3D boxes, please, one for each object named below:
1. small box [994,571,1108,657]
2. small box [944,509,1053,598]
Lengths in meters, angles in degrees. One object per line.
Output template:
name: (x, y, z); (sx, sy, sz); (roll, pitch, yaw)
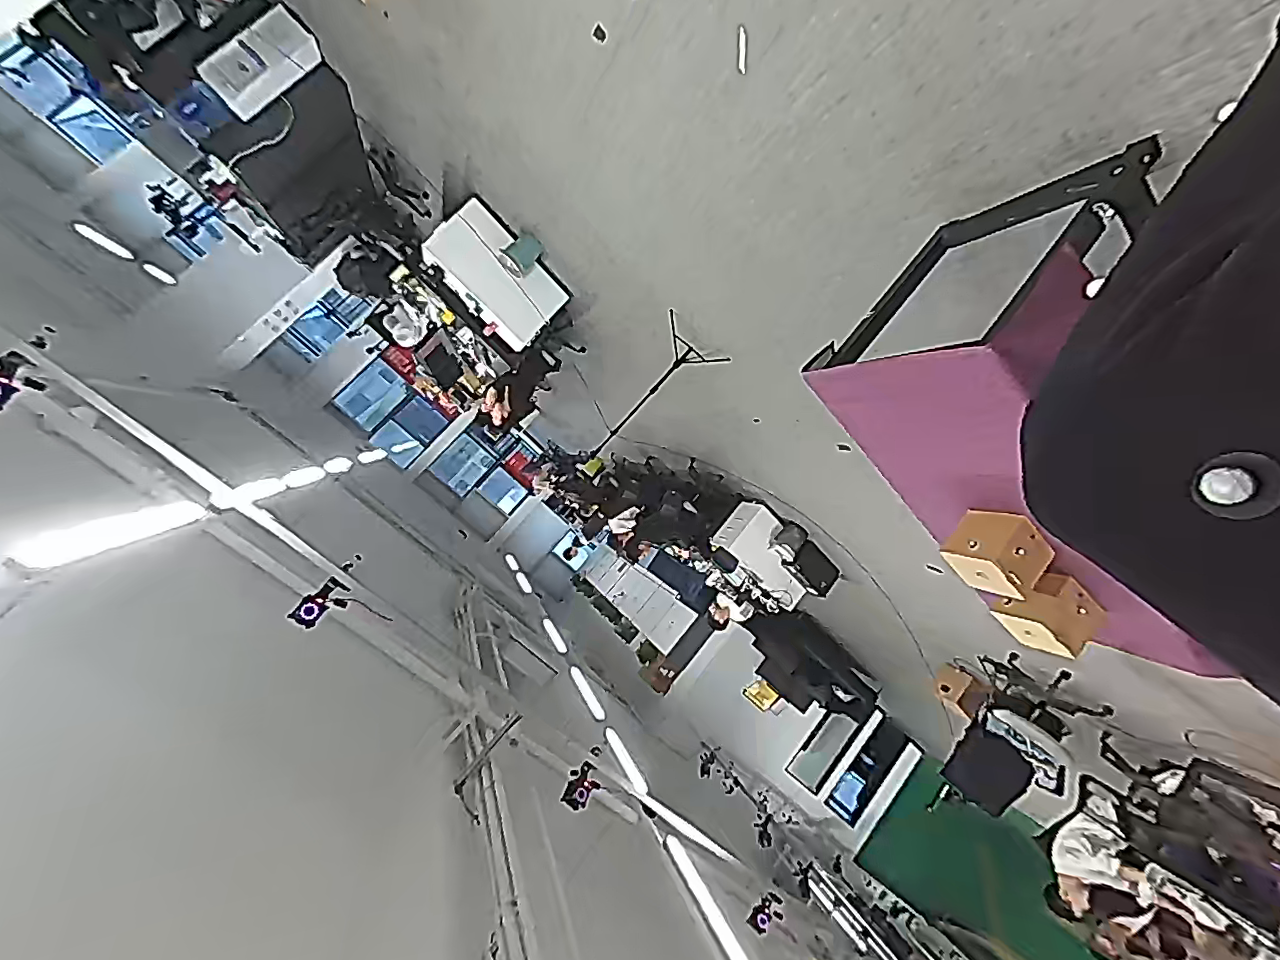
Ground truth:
small box: (1.198, 0.379, 1.578); (0.168, 0.176, 0.179); (42, 170, -9)
small box: (1.009, 0.198, 1.512); (0.168, 0.176, 0.179); (44, 170, -15)
